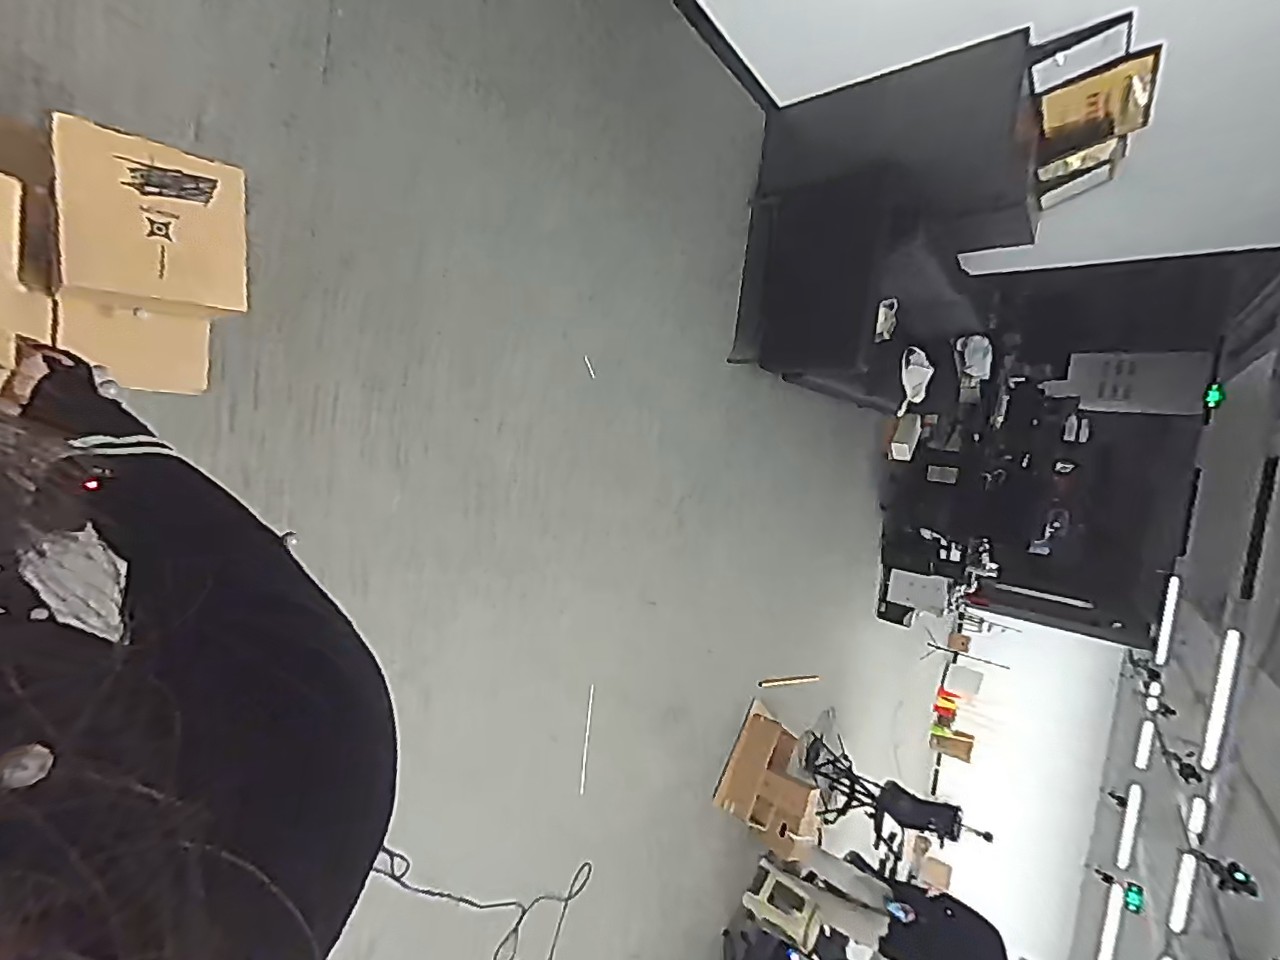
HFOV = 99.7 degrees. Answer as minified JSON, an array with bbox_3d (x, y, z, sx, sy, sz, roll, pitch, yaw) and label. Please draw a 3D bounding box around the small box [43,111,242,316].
[{"bbox_3d":[-0.624,-0.313,0.681,0.168,0.176,0.179,-4,102,-48],"label":"small box"}]
